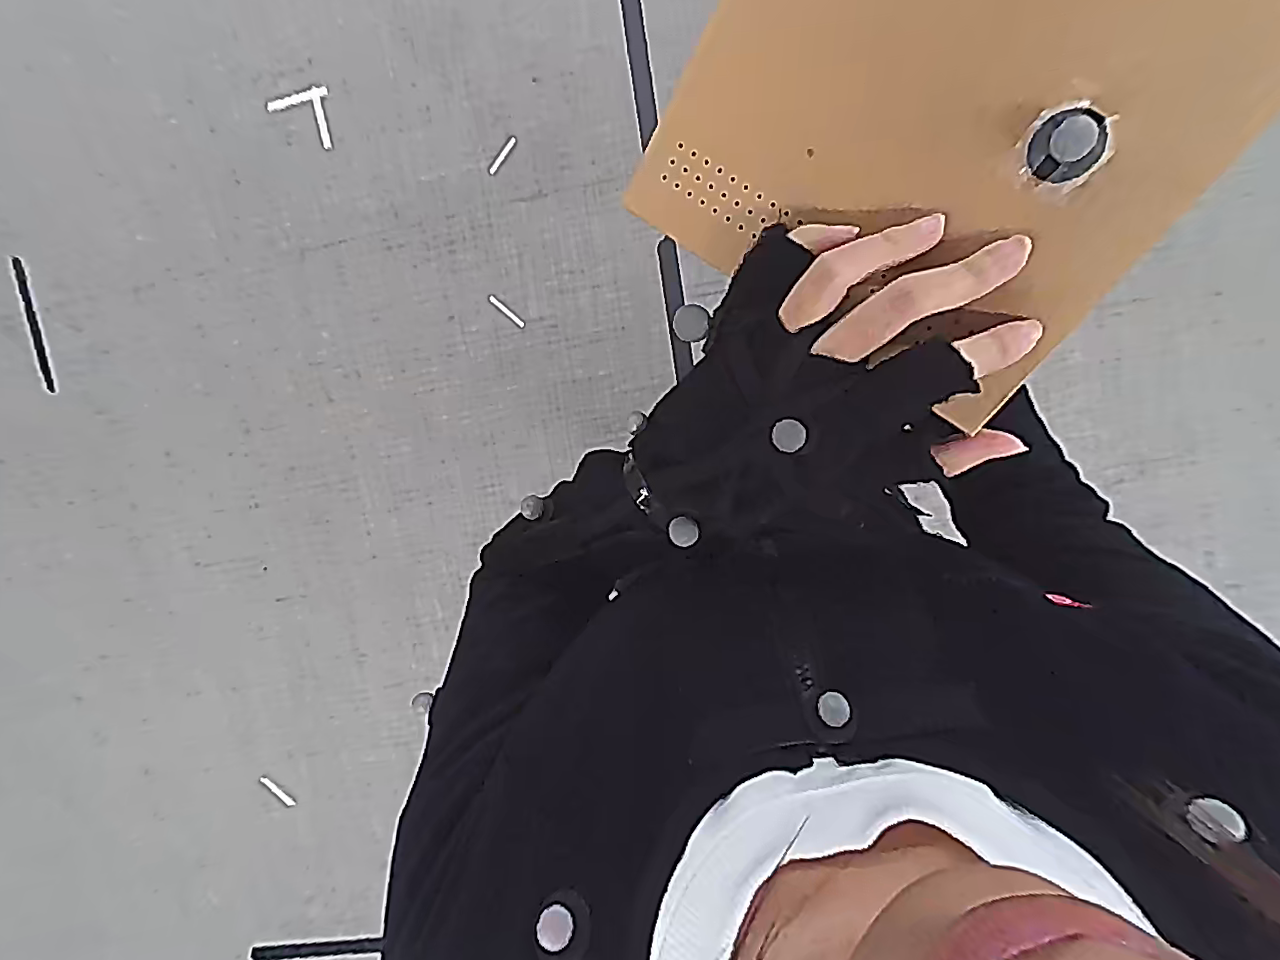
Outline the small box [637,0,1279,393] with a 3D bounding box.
[{"bbox_3d":[0.130,-0.156,0.261,0.179,0.168,0.176,36,117,7],"label":"small box"}]
